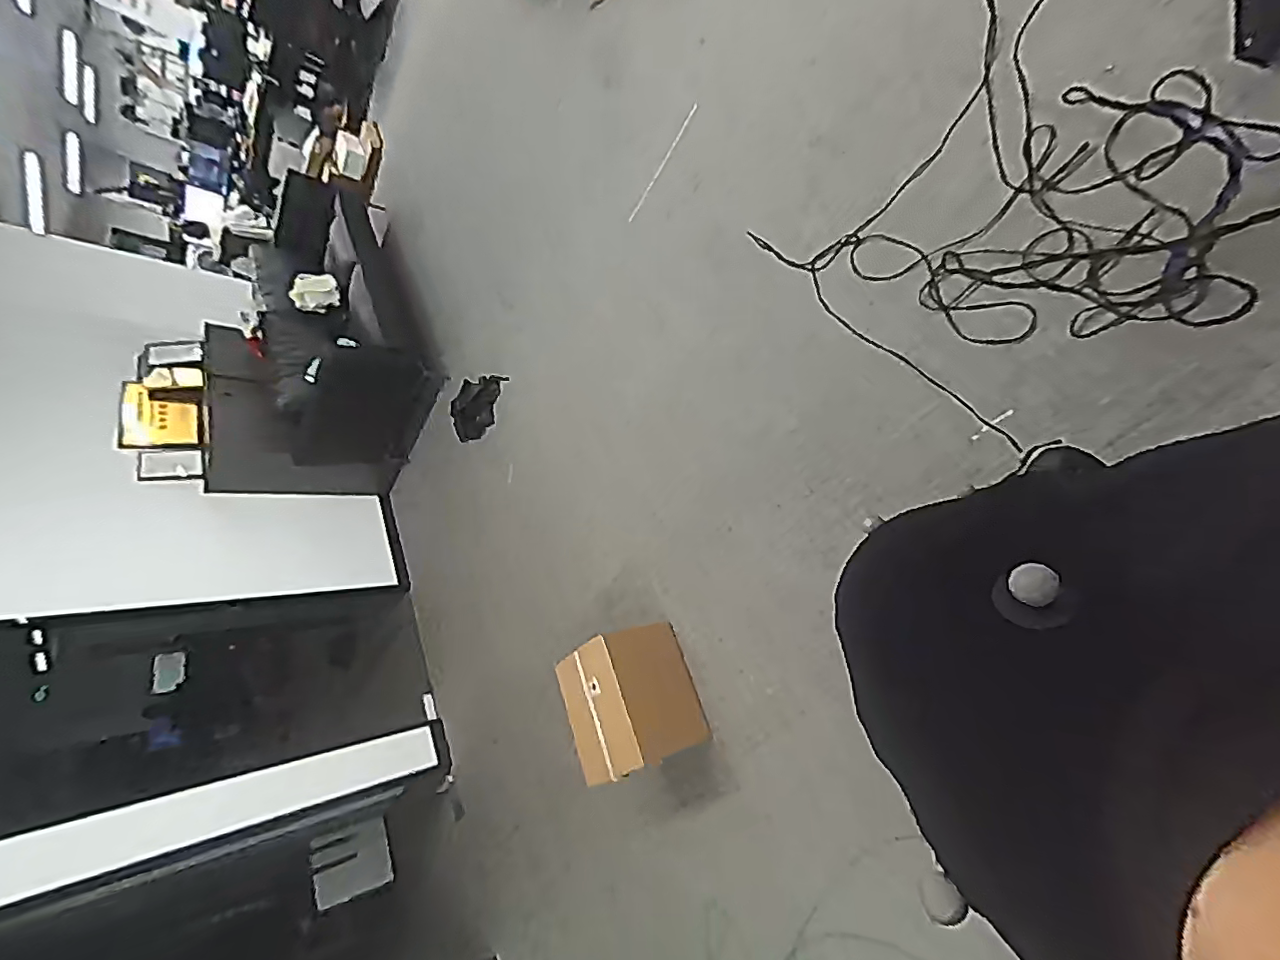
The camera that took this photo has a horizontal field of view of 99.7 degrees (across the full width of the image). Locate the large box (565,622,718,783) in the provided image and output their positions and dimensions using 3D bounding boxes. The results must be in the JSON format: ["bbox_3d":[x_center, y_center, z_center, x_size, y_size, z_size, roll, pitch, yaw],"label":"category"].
[{"bbox_3d":[-0.002,0.738,1.829,0.320,0.320,0.408,-43,56,37],"label":"large box"}]
